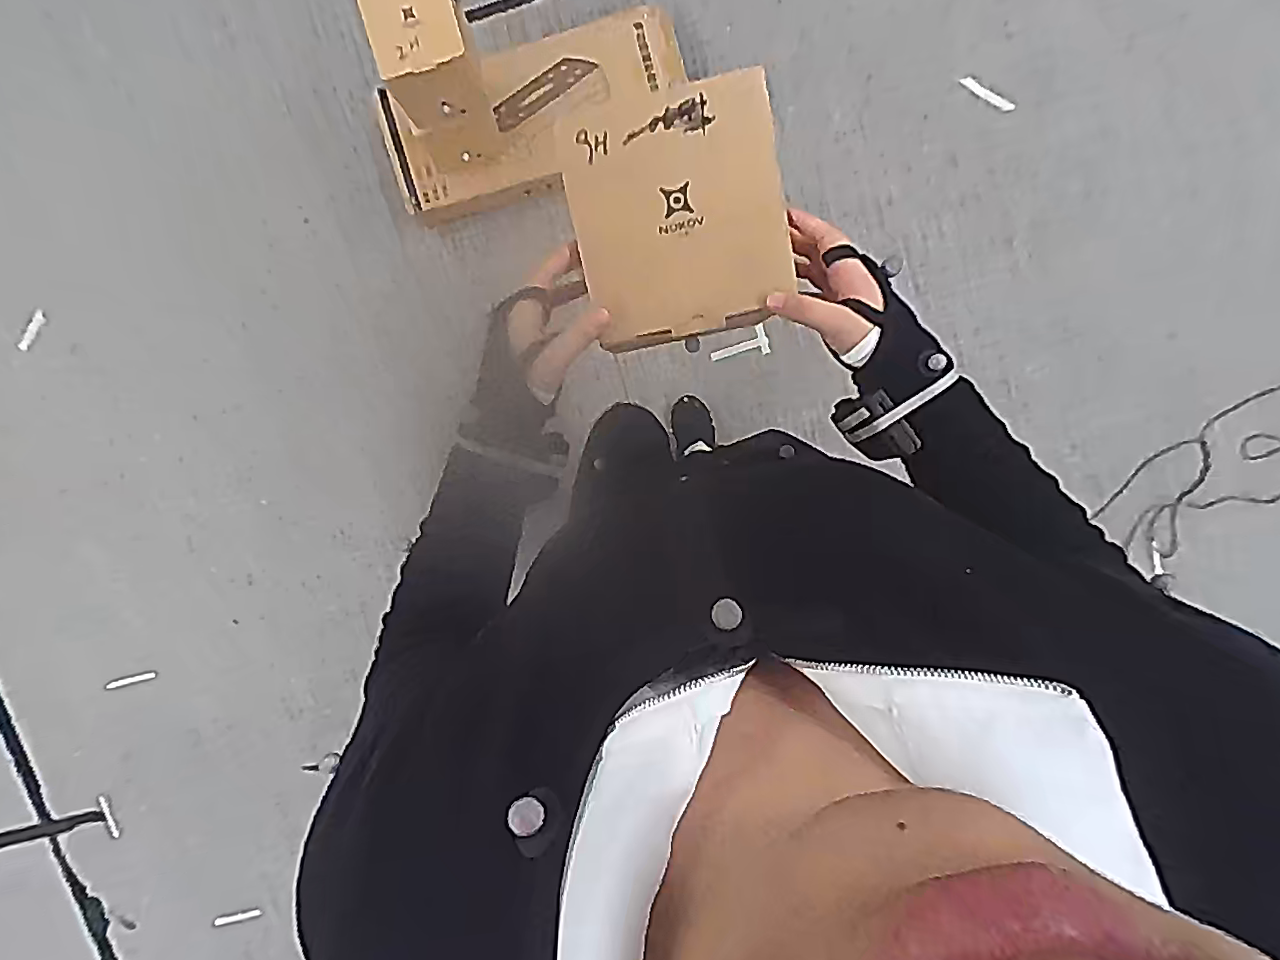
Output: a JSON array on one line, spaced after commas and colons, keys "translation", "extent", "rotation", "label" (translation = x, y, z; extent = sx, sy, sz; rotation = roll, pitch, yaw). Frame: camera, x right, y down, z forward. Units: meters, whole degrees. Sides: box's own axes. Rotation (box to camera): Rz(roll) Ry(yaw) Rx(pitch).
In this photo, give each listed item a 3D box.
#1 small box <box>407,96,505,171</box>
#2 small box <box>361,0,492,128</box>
[{"translation": [-0.424, -0.843, 1.222], "extent": [0.168, 0.176, 0.179], "rotation": [-17, 96, 3], "label": "small box"}, {"translation": [-0.410, -0.838, 1.057], "extent": [0.168, 0.176, 0.179], "rotation": [-15, 95, 3], "label": "small box"}]
